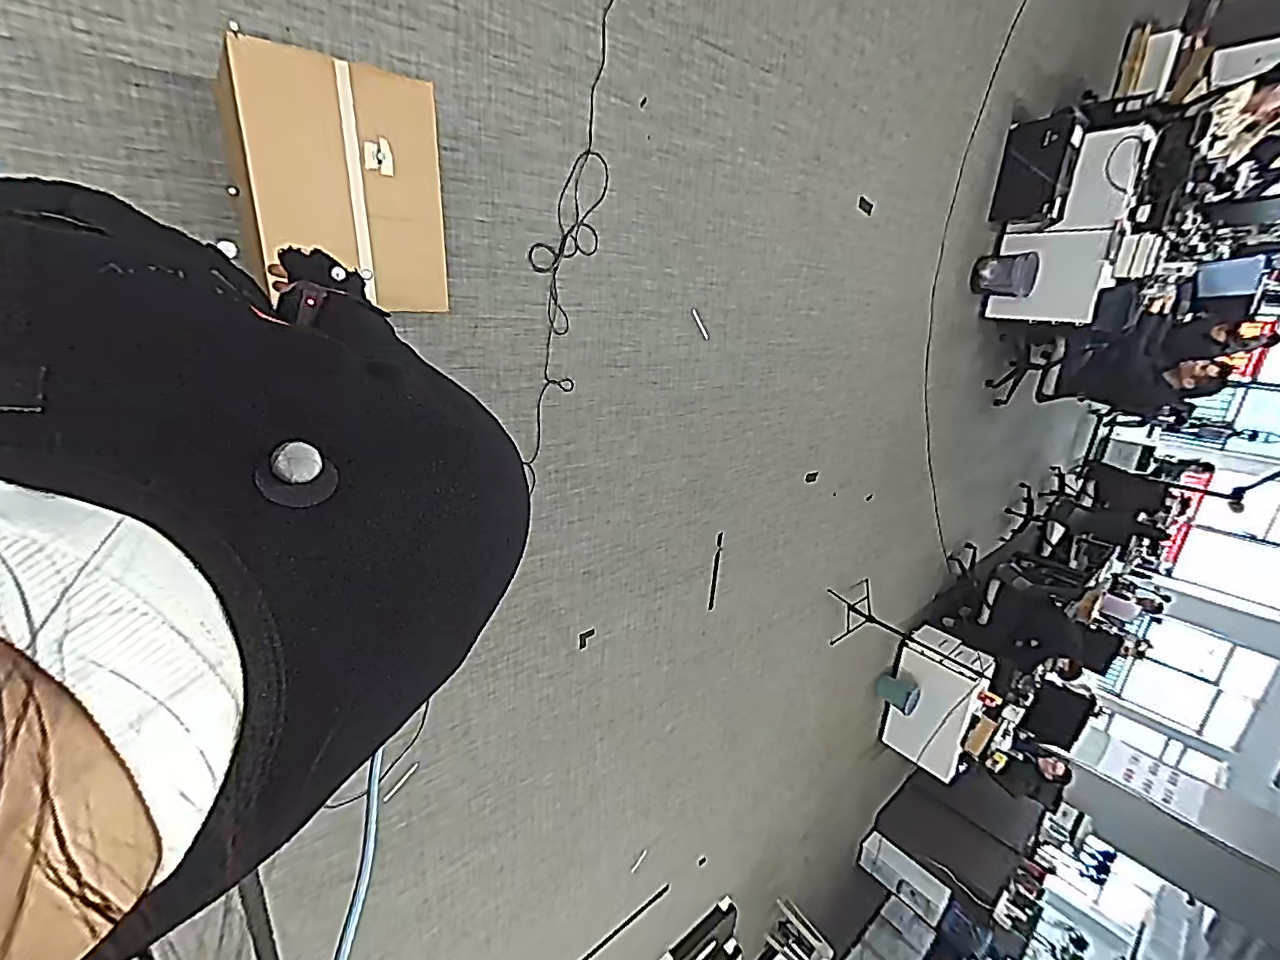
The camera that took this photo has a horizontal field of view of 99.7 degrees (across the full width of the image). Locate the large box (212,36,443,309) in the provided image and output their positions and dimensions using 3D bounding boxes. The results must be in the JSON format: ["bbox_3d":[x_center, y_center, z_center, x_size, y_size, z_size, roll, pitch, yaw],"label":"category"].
[{"bbox_3d":[-0.621,-0.559,1.088,0.320,0.320,0.408,-14,114,-39],"label":"large box"}]
